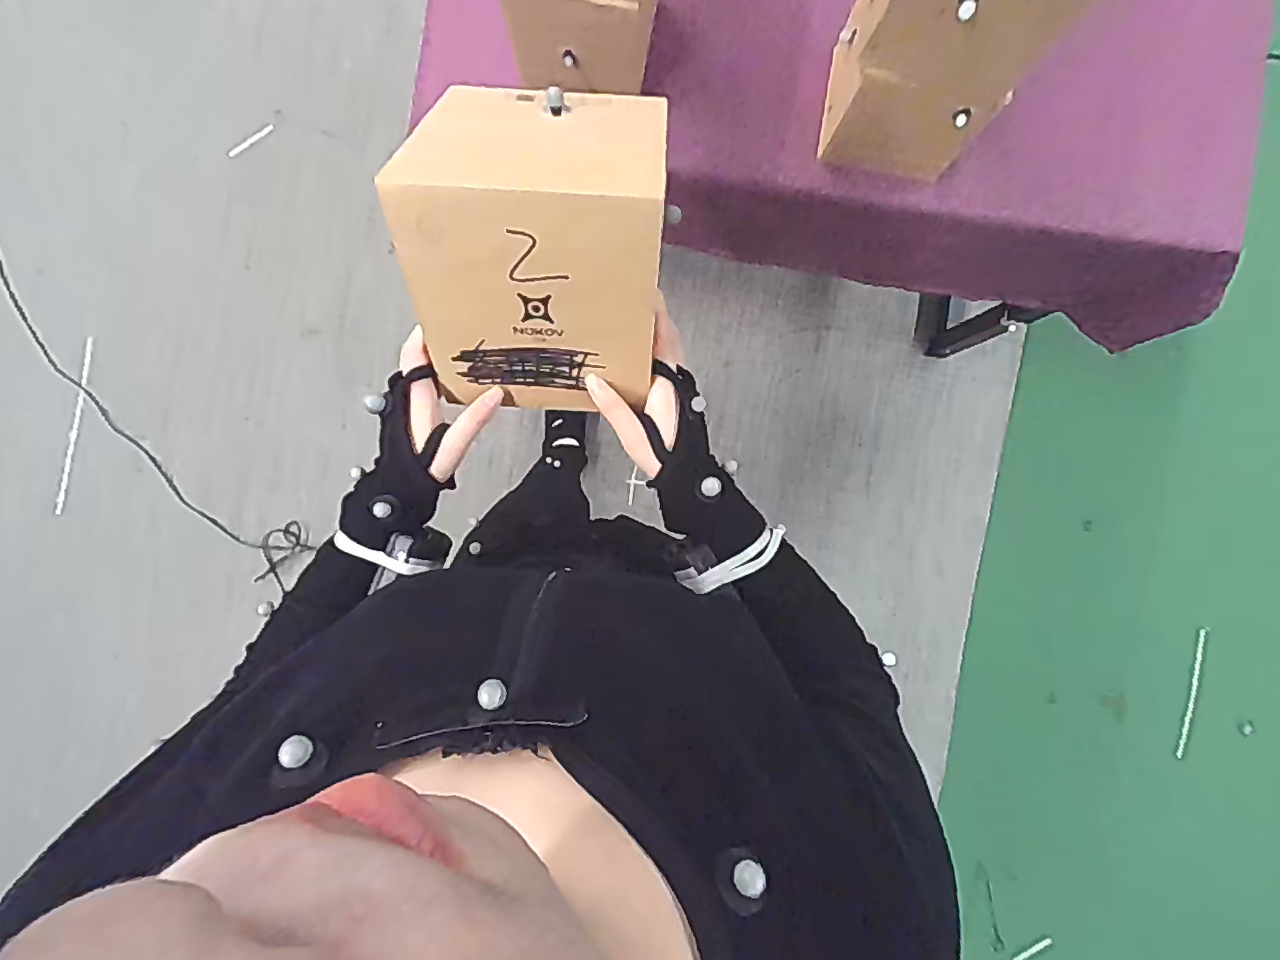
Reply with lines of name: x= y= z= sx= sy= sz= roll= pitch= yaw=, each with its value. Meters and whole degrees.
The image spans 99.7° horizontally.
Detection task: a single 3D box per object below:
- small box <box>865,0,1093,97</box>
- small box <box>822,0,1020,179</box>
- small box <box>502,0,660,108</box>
small box: x=0.348 y=-0.521 z=0.527 sx=0.179 sy=0.176 sz=0.168 roll=14 pitch=90 yaw=0
small box: x=0.352 y=-0.518 z=0.691 sx=0.179 sy=0.176 sz=0.168 roll=10 pitch=89 yaw=-1
small box: x=-0.063 y=-0.619 z=0.685 sx=0.168 sy=0.176 sz=0.179 roll=11 pitch=89 yaw=-1
